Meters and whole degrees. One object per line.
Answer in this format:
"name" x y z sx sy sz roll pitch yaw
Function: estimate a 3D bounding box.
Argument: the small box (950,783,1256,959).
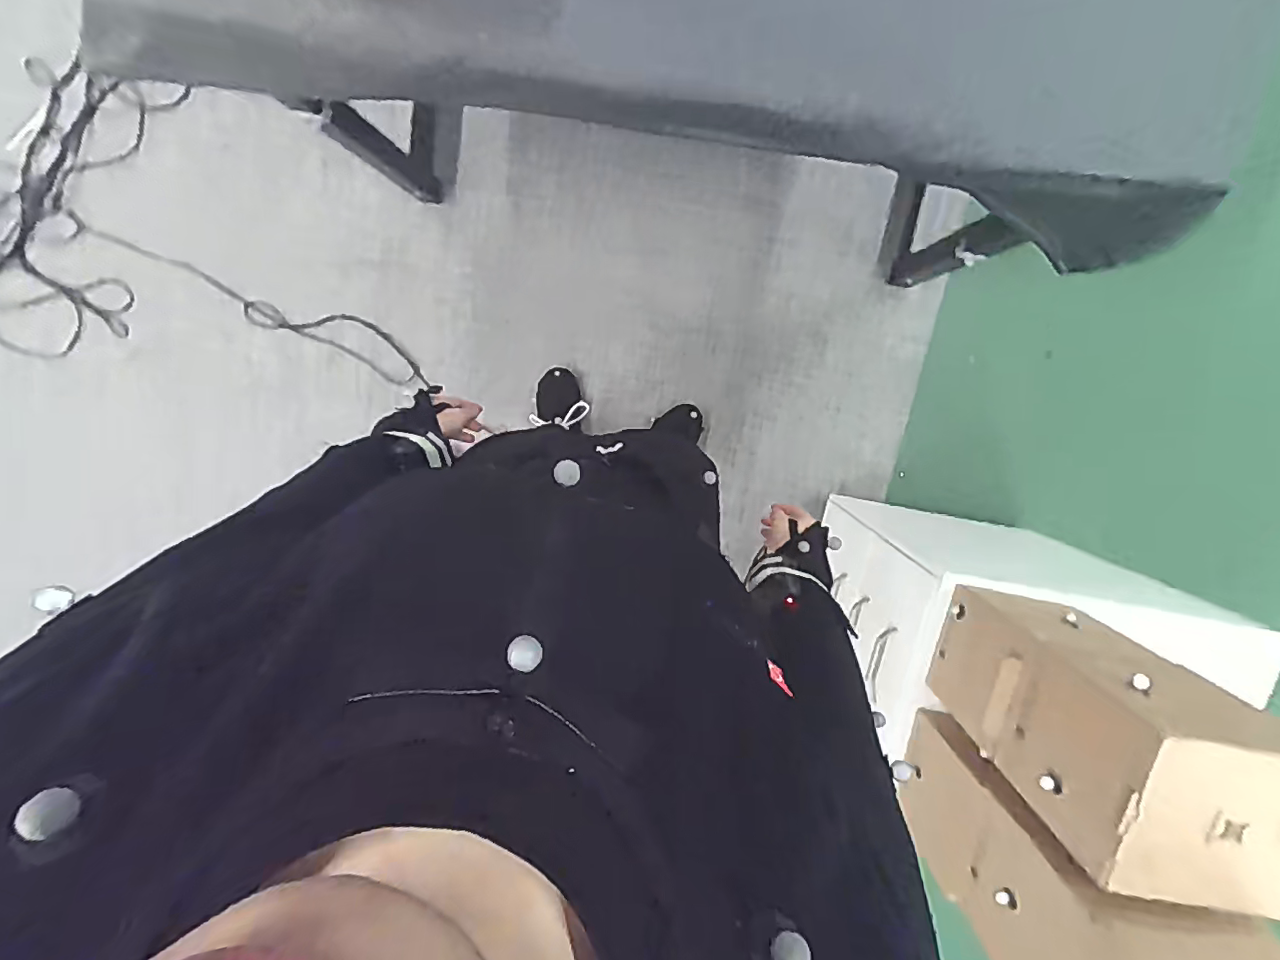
"small box" 0.480 0.468 0.595 0.179 0.176 0.168 7 101 0

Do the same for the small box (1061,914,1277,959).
"small box" 0.476 0.499 0.435 0.179 0.176 0.168 9 100 -1
